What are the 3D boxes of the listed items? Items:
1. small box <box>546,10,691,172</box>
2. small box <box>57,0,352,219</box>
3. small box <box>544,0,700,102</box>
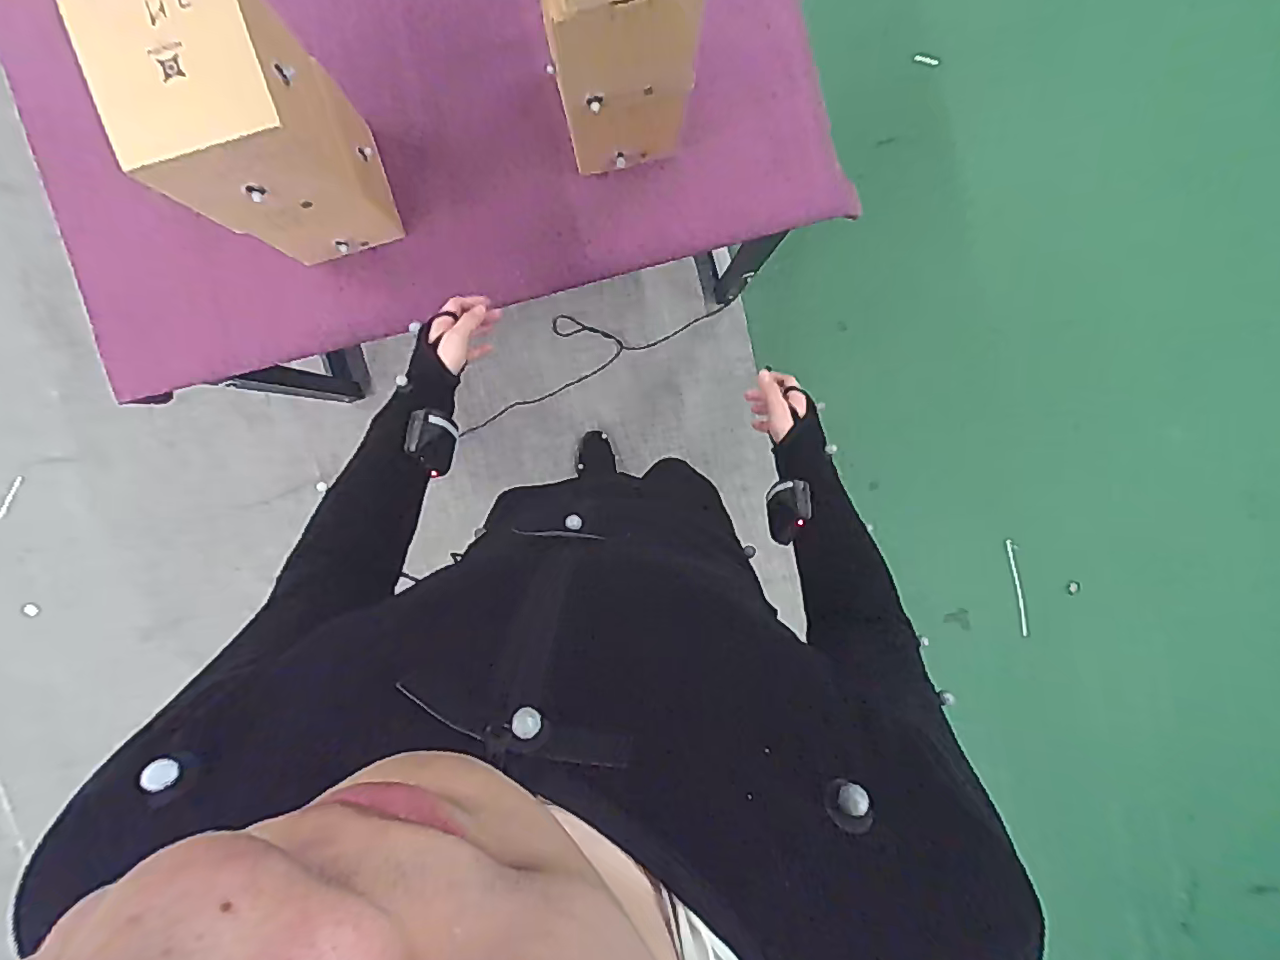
[{"bbox_3d":[-0.032,-0.582,0.771,0.168,0.176,0.179,-13,94,1],"label":"small box"},{"bbox_3d":[-0.459,-0.417,0.604,0.168,0.176,0.179,-17,95,-1],"label":"small box"},{"bbox_3d":[-0.029,-0.567,0.608,0.168,0.176,0.179,-14,93,1],"label":"small box"}]
